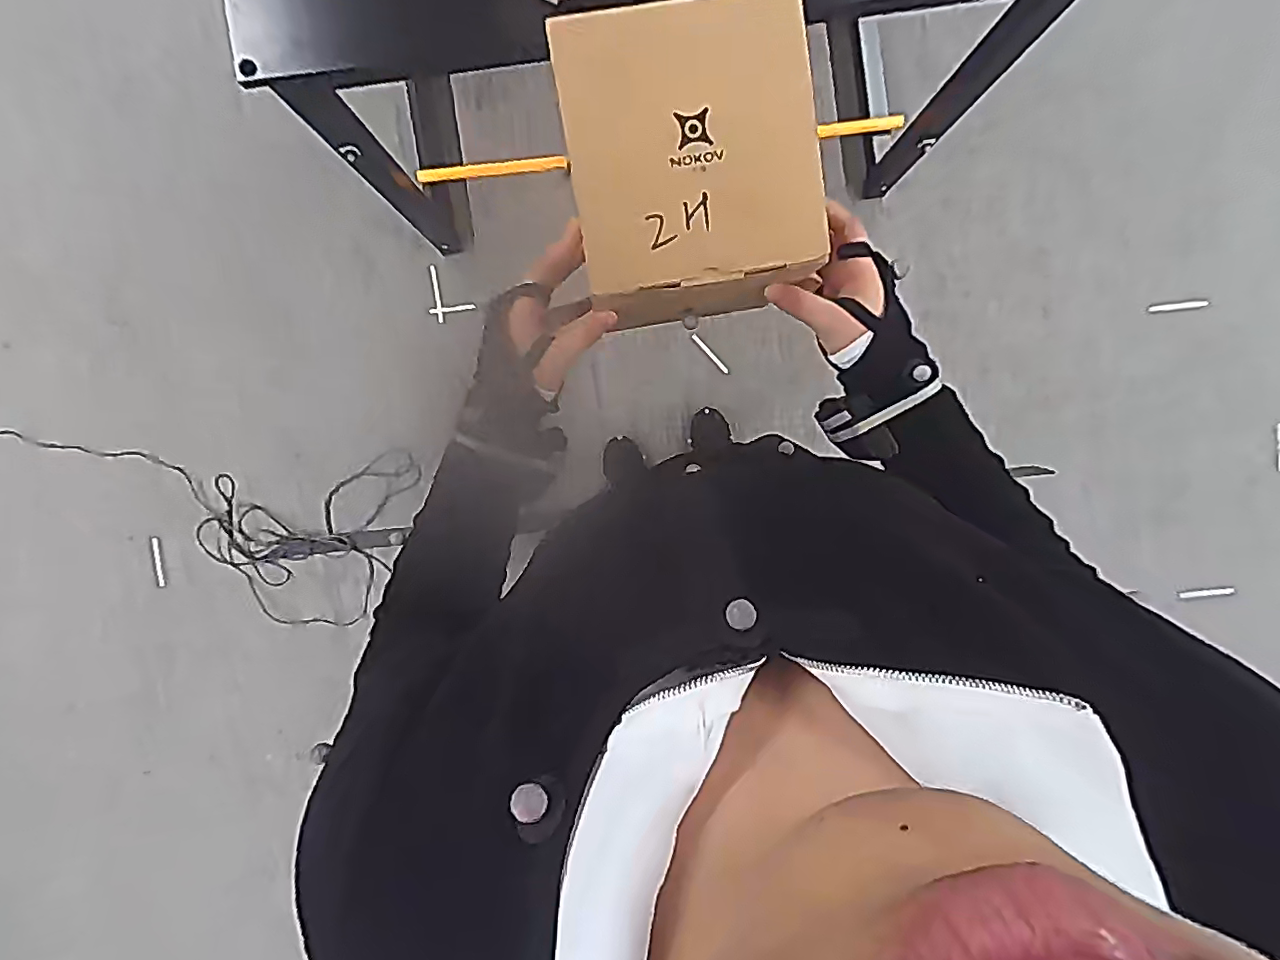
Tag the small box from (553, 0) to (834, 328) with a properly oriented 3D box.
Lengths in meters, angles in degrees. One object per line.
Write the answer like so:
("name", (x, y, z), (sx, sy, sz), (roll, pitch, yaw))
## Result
("small box", (0.033, -0.233, 0.429), (0.168, 0.176, 0.179), (-10, 97, -1))
